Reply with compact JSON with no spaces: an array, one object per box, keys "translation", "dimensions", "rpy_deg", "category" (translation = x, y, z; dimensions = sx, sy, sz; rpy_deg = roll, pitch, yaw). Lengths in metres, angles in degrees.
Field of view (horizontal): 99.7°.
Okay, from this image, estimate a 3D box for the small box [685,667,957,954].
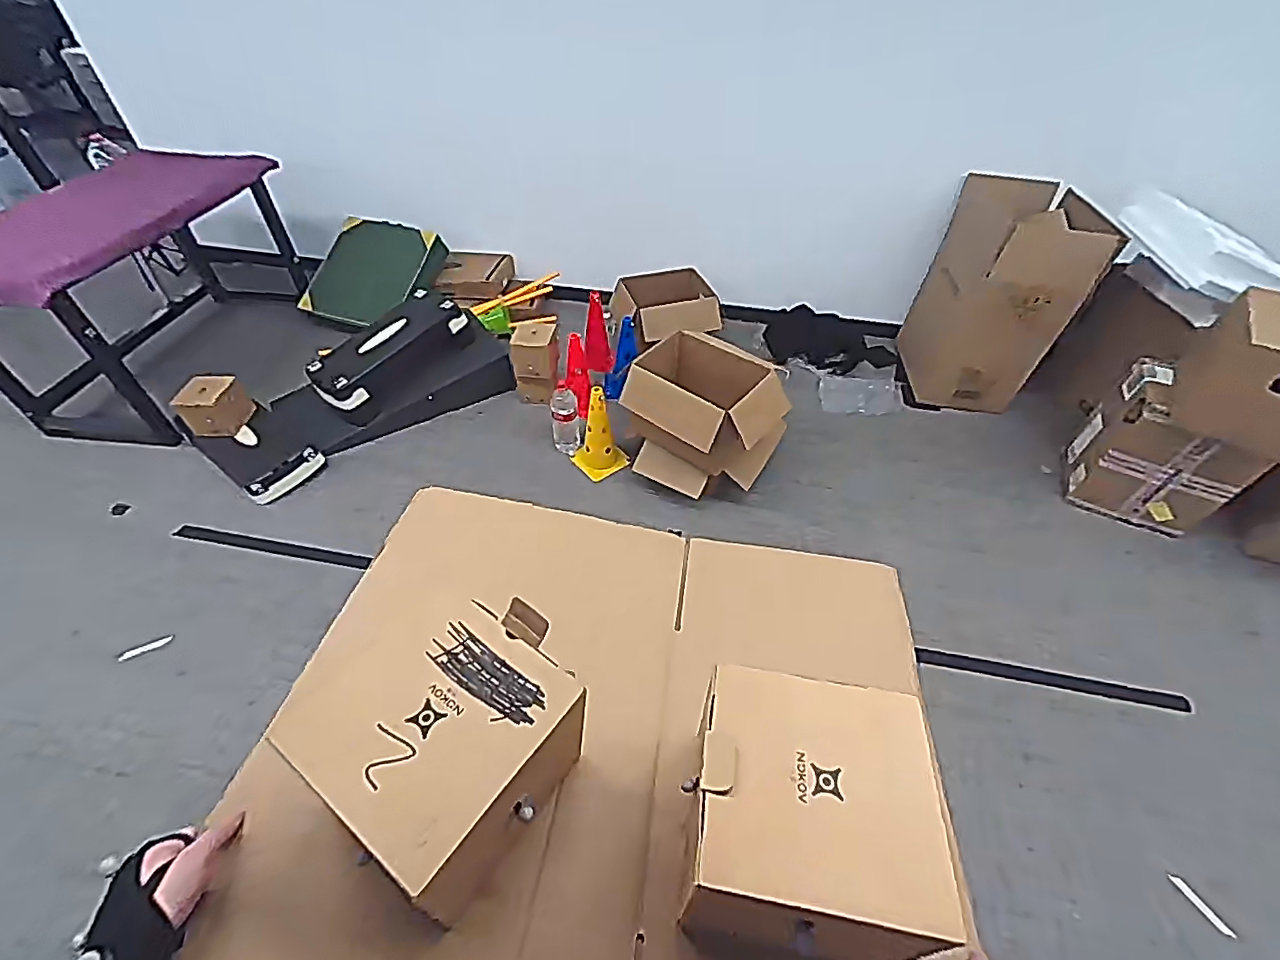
[{"translation":[0.140,0.294,0.480],"dimensions":[0.179,0.176,0.168],"rpy_deg":[7,44,7],"category":"small box"}]
